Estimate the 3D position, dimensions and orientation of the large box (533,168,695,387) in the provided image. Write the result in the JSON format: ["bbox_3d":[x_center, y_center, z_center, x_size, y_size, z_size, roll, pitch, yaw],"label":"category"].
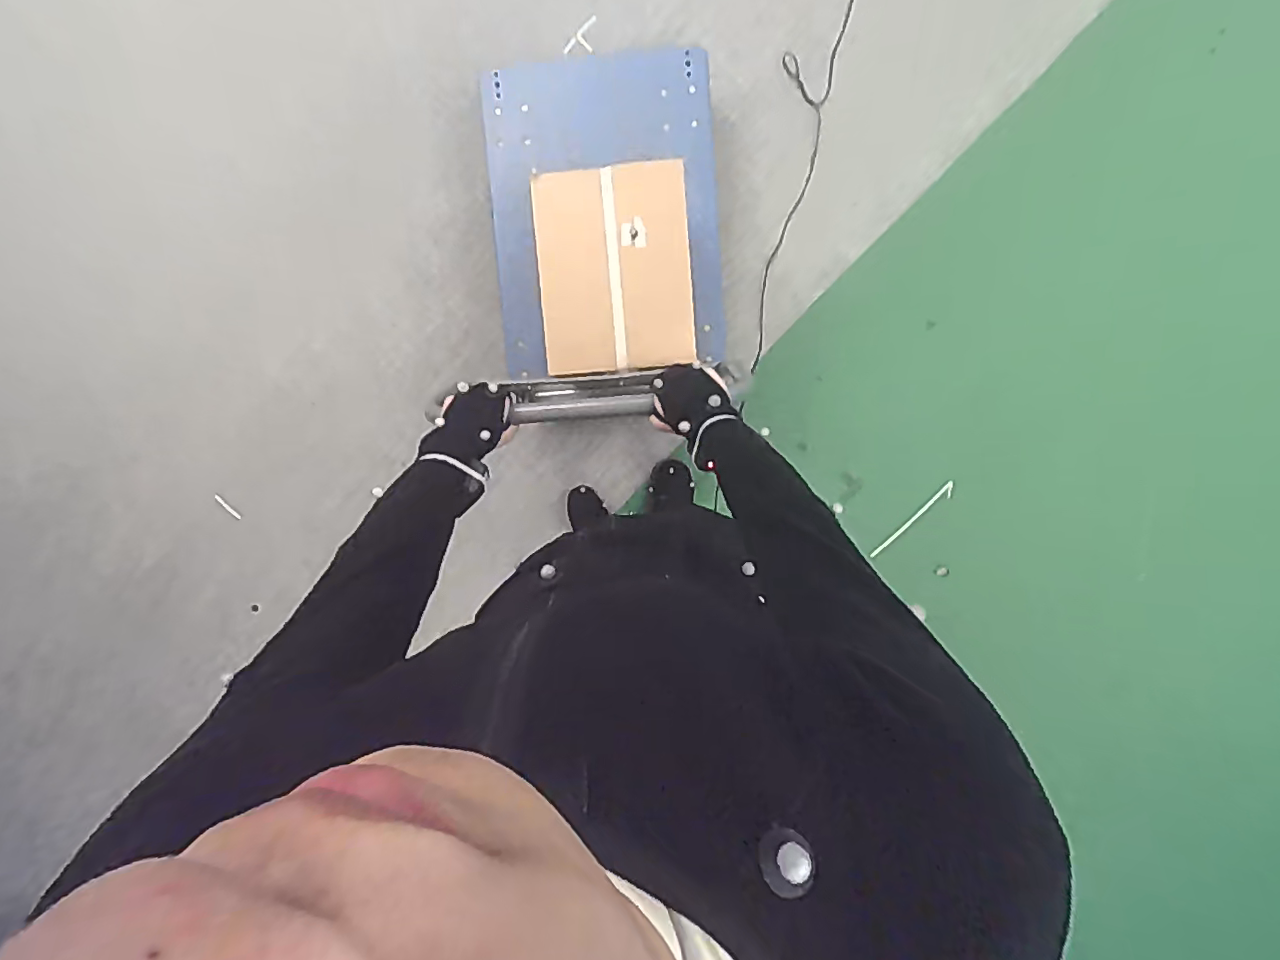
[{"bbox_3d":[-0.046,-0.444,1.278,0.320,0.320,0.408,-4,95,2],"label":"large box"}]
